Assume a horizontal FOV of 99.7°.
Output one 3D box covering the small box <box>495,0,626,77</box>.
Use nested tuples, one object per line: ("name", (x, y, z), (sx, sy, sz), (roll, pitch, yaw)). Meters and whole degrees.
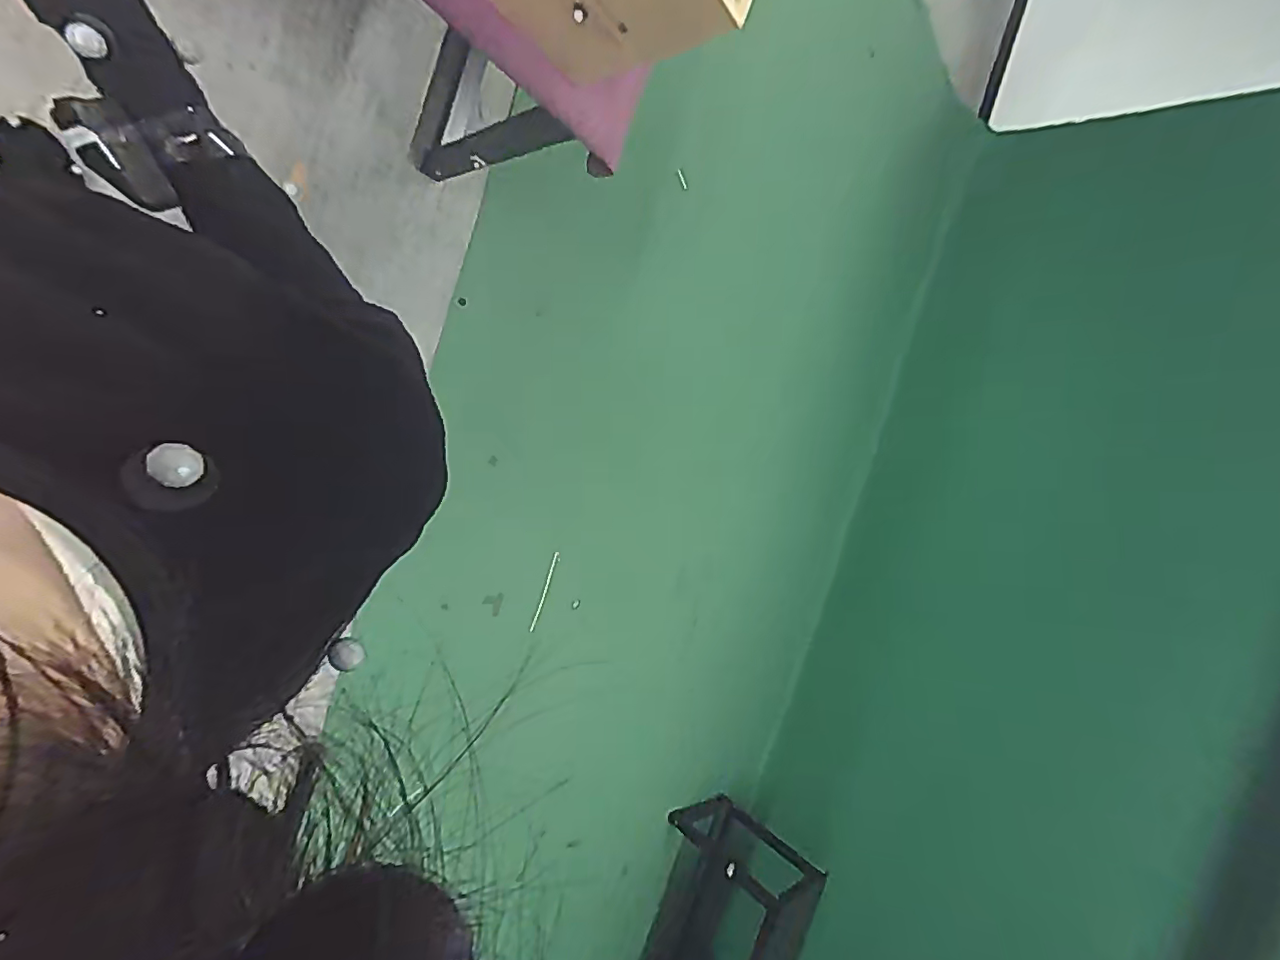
("small box", (-0.075, -0.691, 0.726), (0.179, 0.176, 0.168), (15, 94, -47))

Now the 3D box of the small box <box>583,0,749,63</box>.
("small box", (0.031, -0.633, 0.613), (0.168, 0.176, 0.179), (19, 91, -46))
